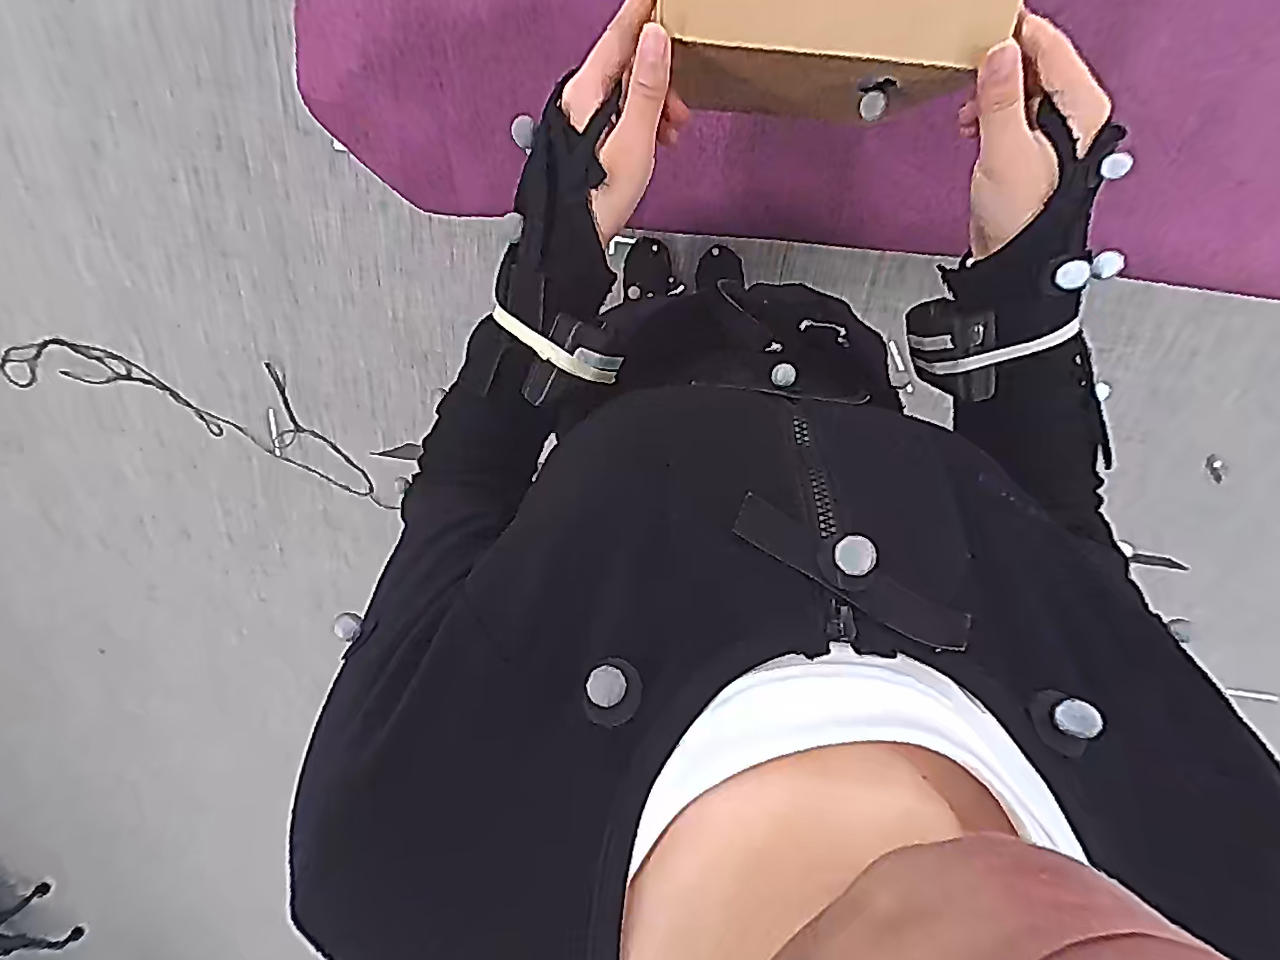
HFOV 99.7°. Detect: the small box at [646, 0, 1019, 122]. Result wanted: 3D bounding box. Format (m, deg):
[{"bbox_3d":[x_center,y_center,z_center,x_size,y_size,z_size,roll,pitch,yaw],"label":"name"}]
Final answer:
[{"bbox_3d":[0.100,-0.319,0.306,0.179,0.176,0.168,4,114,-3],"label":"small box"}]
